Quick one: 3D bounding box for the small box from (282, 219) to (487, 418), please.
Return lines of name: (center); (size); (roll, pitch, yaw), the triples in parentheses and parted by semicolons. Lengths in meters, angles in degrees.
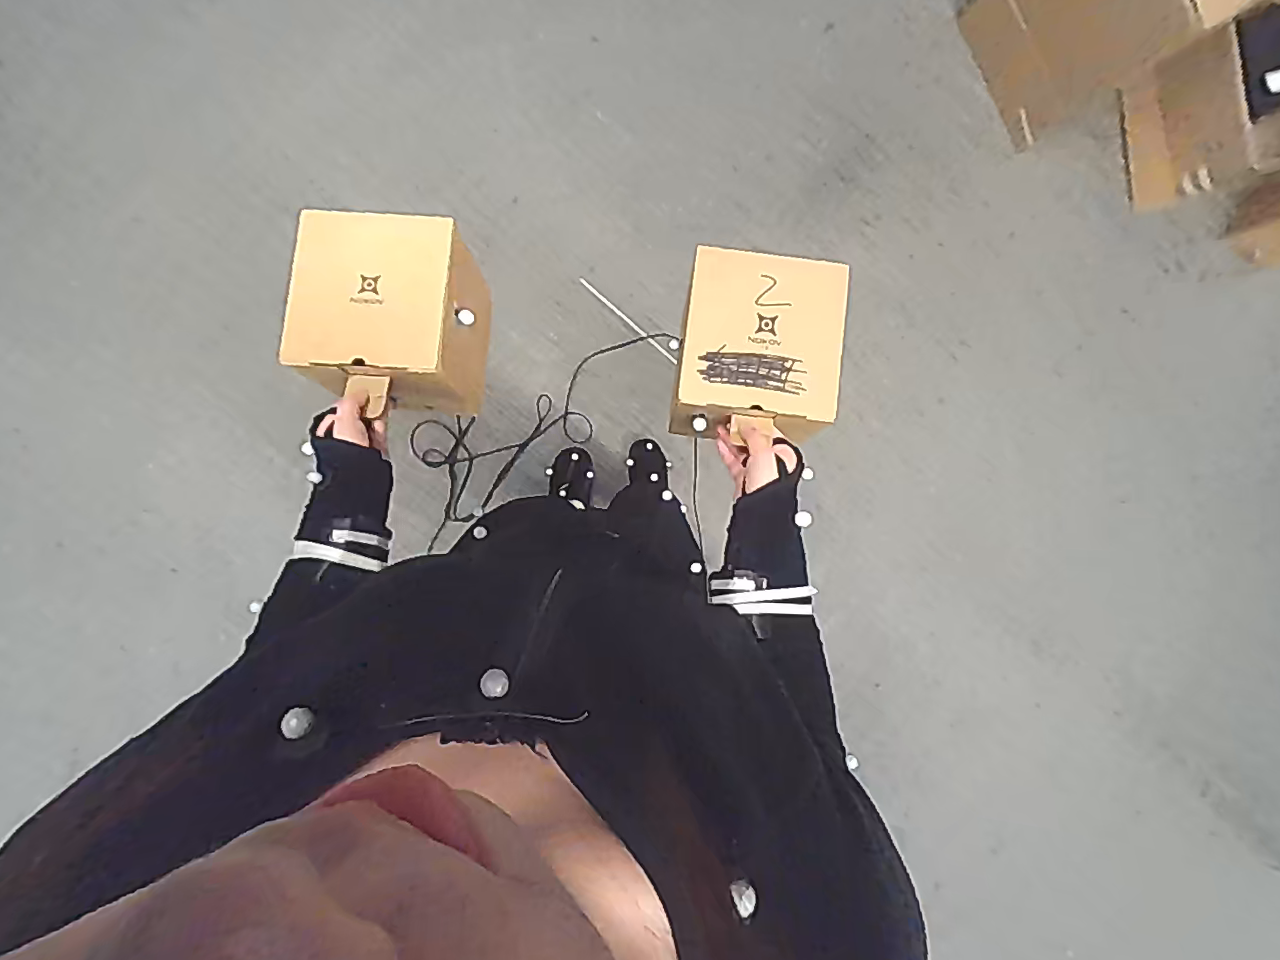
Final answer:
small box: (-0.292, -0.185, 0.660); (0.168, 0.176, 0.179); (2, 82, 0)
